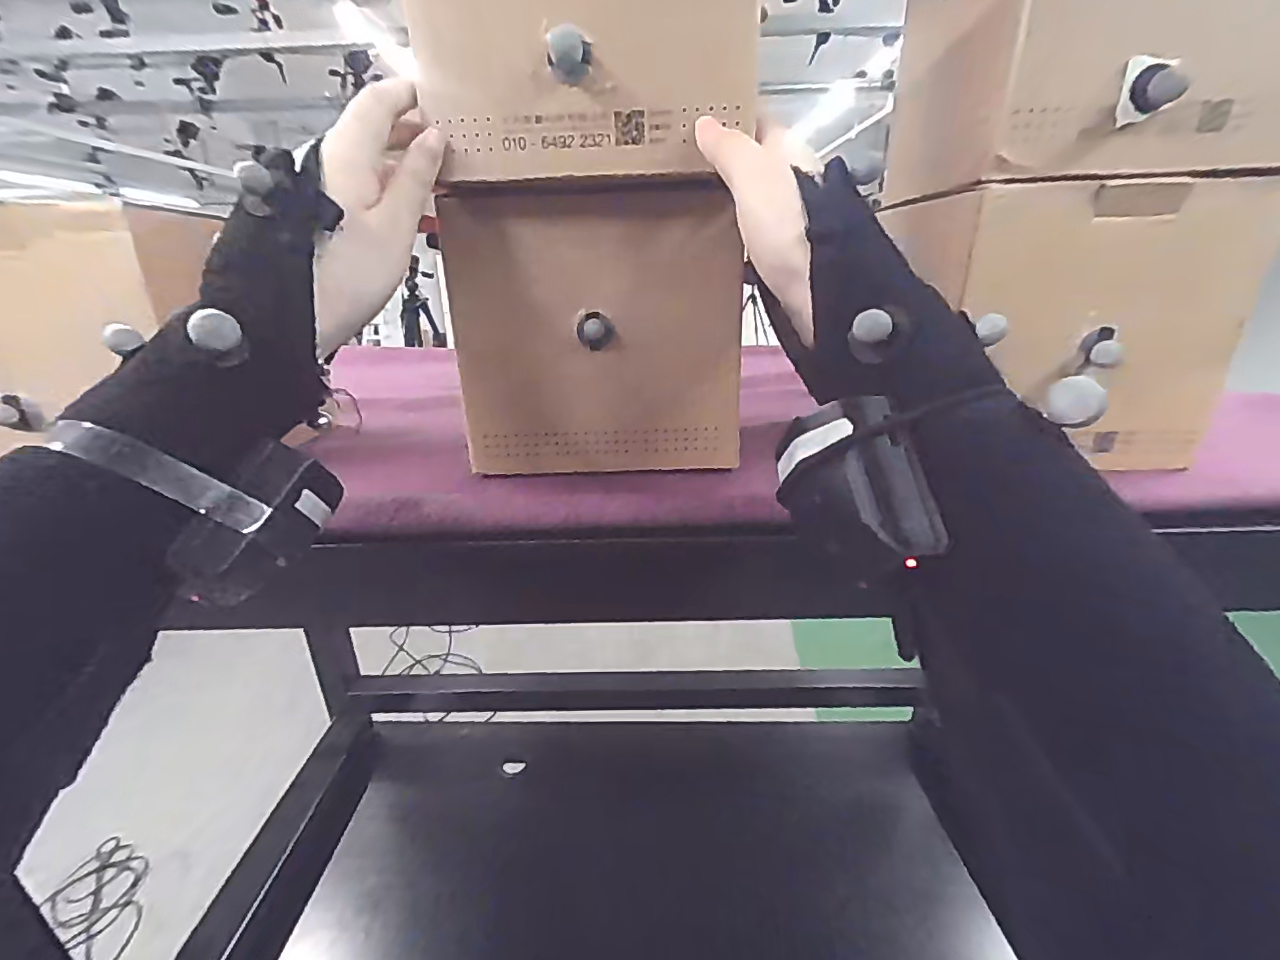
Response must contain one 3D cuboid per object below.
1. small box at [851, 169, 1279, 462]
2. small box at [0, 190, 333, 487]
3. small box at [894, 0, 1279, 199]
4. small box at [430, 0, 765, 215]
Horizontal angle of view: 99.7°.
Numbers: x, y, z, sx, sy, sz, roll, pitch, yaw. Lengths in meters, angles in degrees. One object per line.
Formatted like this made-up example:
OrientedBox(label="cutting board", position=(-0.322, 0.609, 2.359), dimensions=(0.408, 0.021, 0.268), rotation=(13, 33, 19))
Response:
OrientedBox(label="small box", position=(0.268, -0.116, 0.392), dimensions=(0.168, 0.176, 0.179), rotation=(-1, 22, 2))
OrientedBox(label="small box", position=(-0.348, -0.101, 0.389), dimensions=(0.168, 0.176, 0.179), rotation=(-2, 20, -3))
OrientedBox(label="small box", position=(0.274, -0.268, 0.331), dimensions=(0.168, 0.176, 0.179), rotation=(-1, 22, 5))
OrientedBox(label="small box", position=(-0.019, -0.261, 0.324), dimensions=(0.168, 0.176, 0.179), rotation=(-1, 20, 4))
